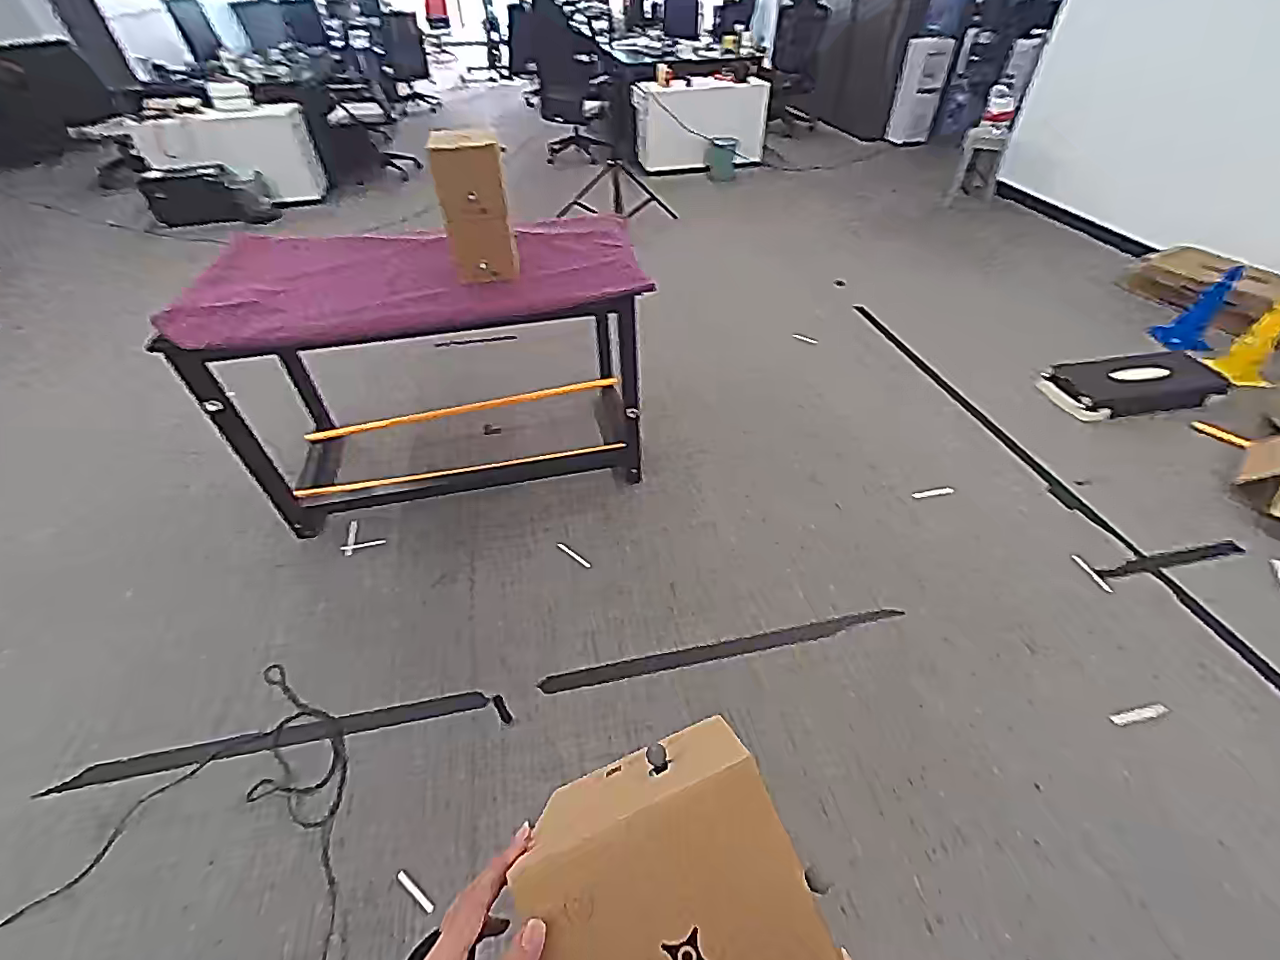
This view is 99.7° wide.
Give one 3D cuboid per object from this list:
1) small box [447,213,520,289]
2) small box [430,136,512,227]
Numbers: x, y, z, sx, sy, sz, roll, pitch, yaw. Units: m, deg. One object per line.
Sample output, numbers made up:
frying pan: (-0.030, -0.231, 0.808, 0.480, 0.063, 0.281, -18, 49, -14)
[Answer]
small box: (-0.433, -0.655, 1.518, 0.168, 0.176, 0.179, -8, 45, -7)
small box: (-0.432, -0.775, 1.405, 0.168, 0.176, 0.179, -9, 45, -6)
